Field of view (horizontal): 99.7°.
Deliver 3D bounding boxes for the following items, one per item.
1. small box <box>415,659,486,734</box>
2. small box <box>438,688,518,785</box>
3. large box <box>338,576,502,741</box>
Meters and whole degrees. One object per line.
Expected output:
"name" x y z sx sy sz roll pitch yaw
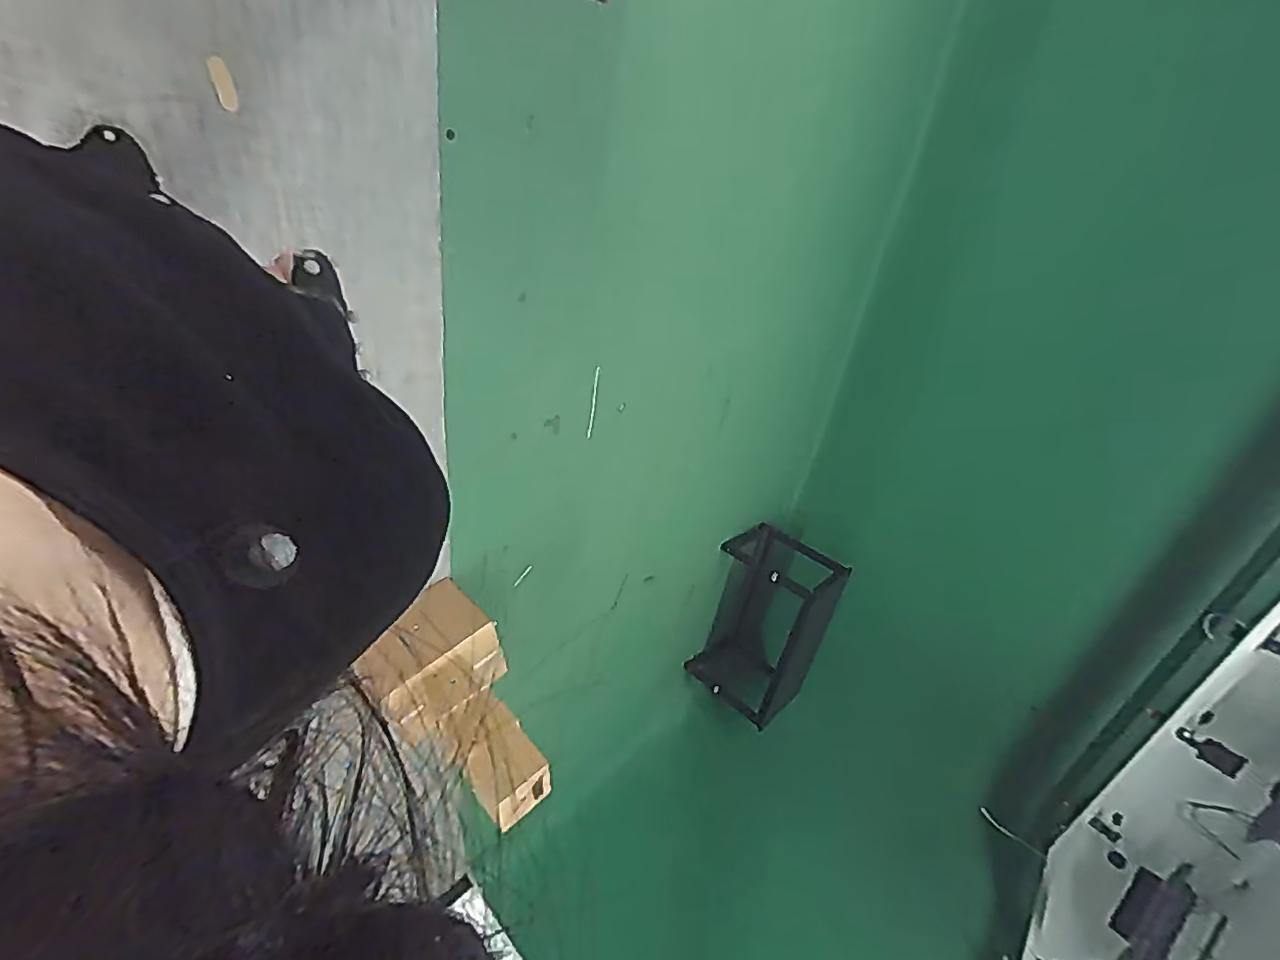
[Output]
"small box" -0.618 0.718 1.778 0.168 0.176 0.179 -29 135 -38
"small box" -0.504 0.793 1.691 0.179 0.176 0.168 -27 135 -38
"large box" -0.777 0.628 1.947 0.408 0.320 0.320 -35 140 -35
